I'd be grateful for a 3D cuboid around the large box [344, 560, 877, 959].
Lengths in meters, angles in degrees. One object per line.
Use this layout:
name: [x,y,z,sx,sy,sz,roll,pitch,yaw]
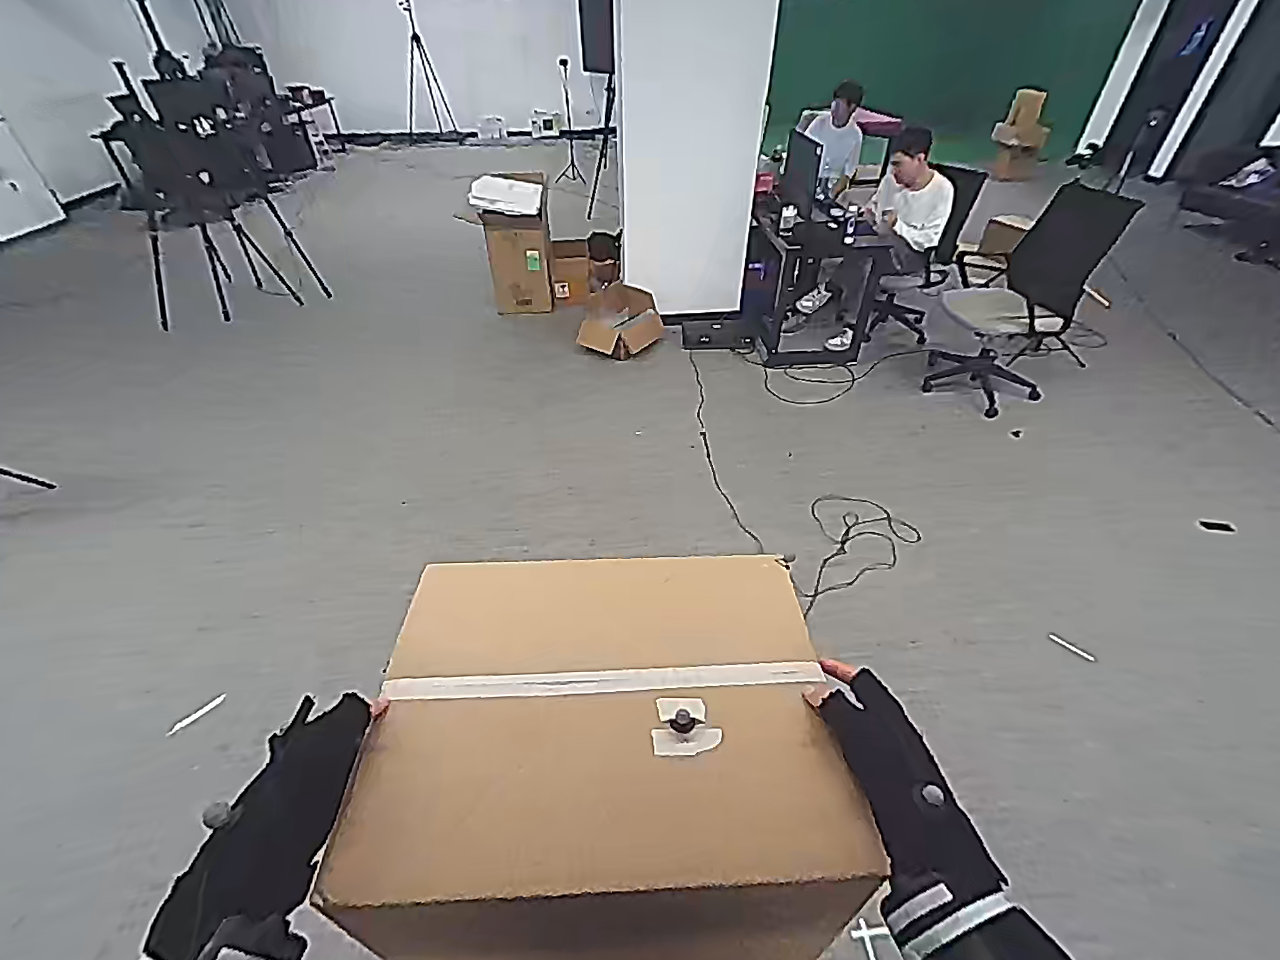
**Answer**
large box: [-0.028,0.310,0.603,0.408,0.320,0.320,-1,38,-2]
